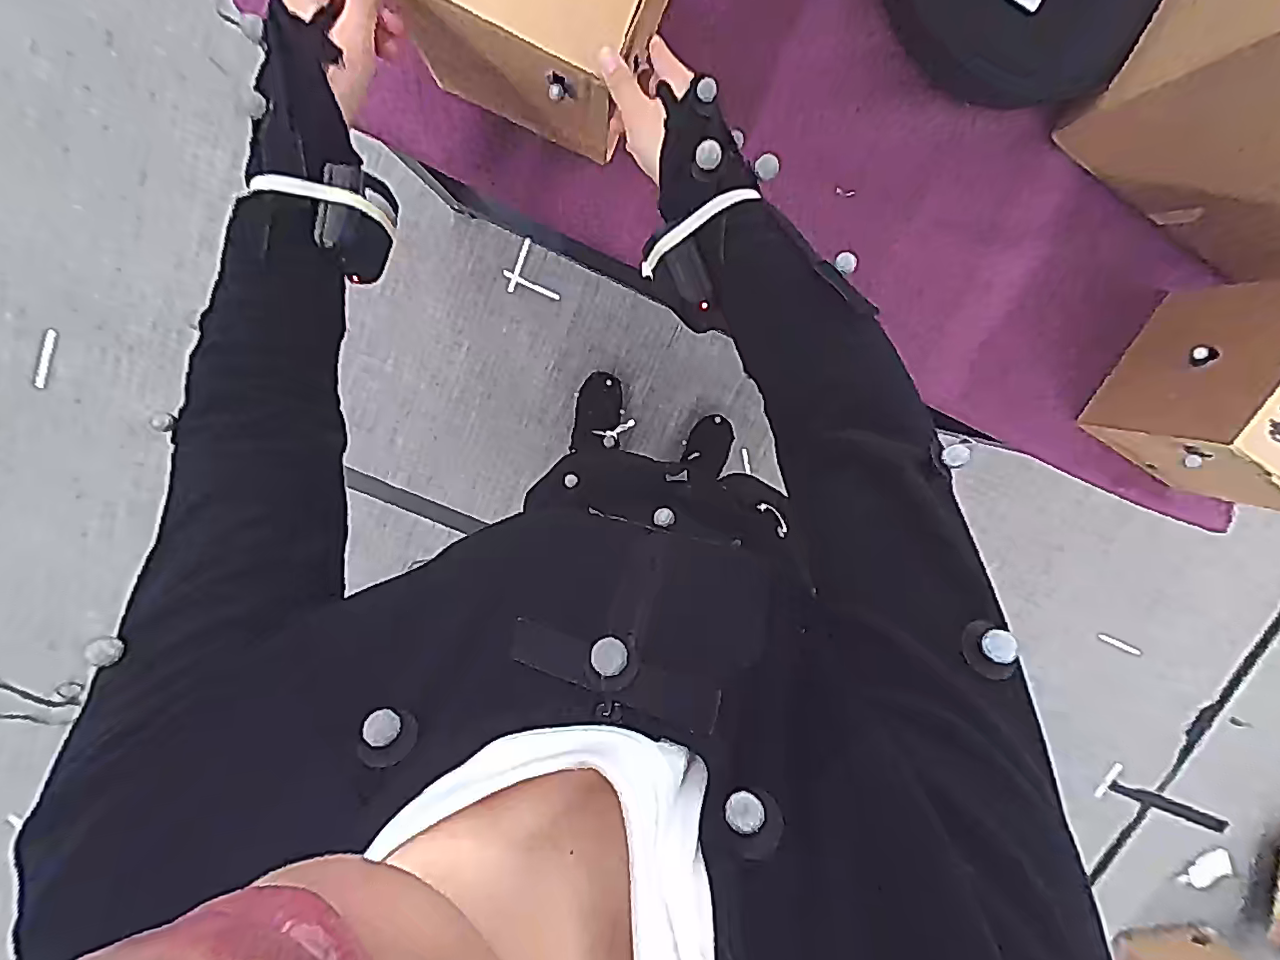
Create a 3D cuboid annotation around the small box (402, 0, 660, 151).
[{"bbox_3d":[-0.080,-0.404,0.434,0.179,0.176,0.168,20,100,-10],"label":"small box"}]
